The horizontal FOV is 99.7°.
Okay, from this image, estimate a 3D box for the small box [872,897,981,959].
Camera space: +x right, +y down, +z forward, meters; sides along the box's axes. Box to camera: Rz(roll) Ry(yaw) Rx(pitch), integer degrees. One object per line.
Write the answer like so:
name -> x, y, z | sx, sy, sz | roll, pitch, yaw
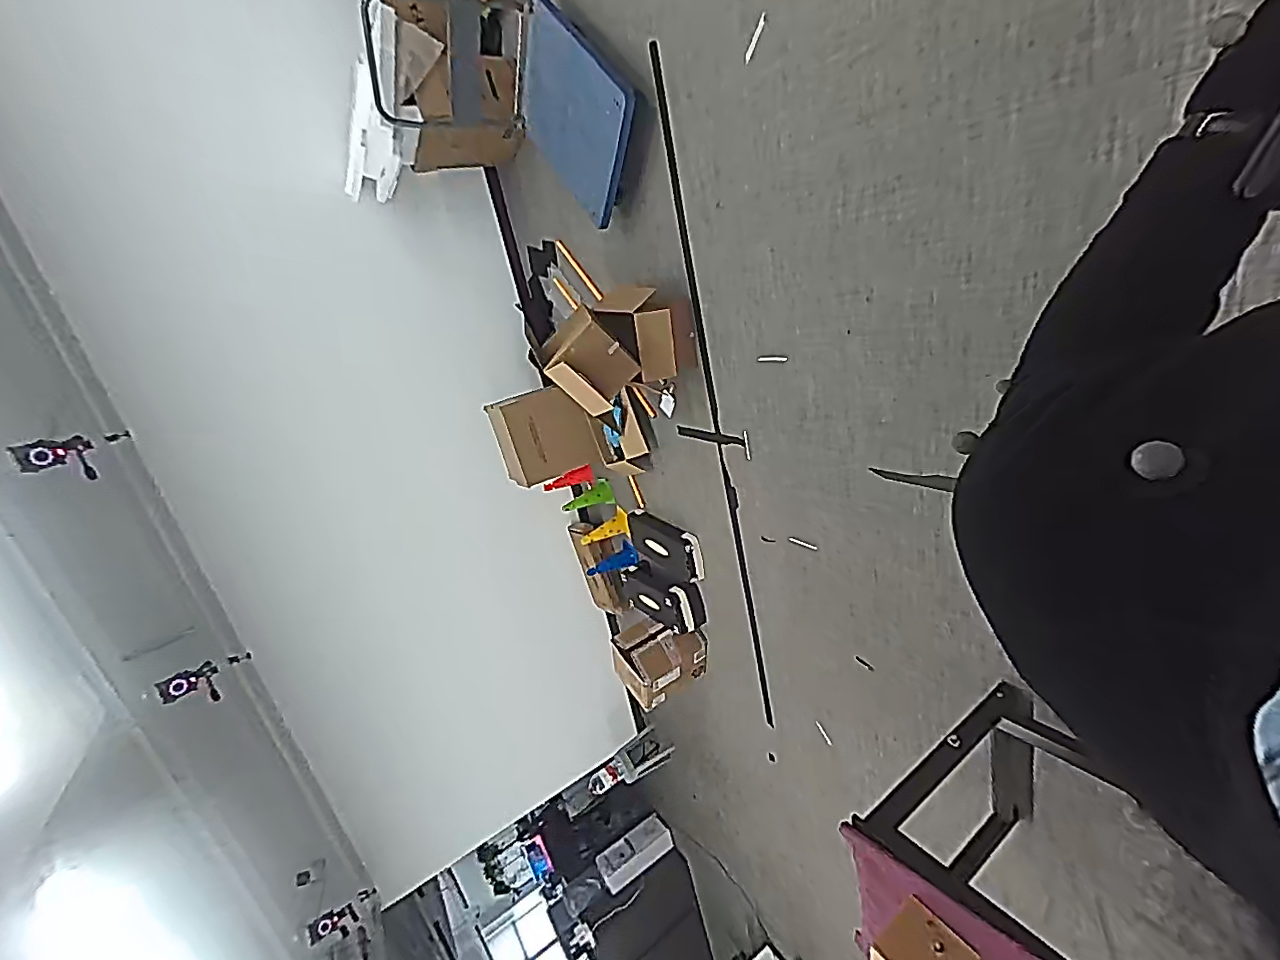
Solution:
small box -> 0.662, 1.132, 1.249 | 0.168, 0.176, 0.179 | 24, 132, 54
